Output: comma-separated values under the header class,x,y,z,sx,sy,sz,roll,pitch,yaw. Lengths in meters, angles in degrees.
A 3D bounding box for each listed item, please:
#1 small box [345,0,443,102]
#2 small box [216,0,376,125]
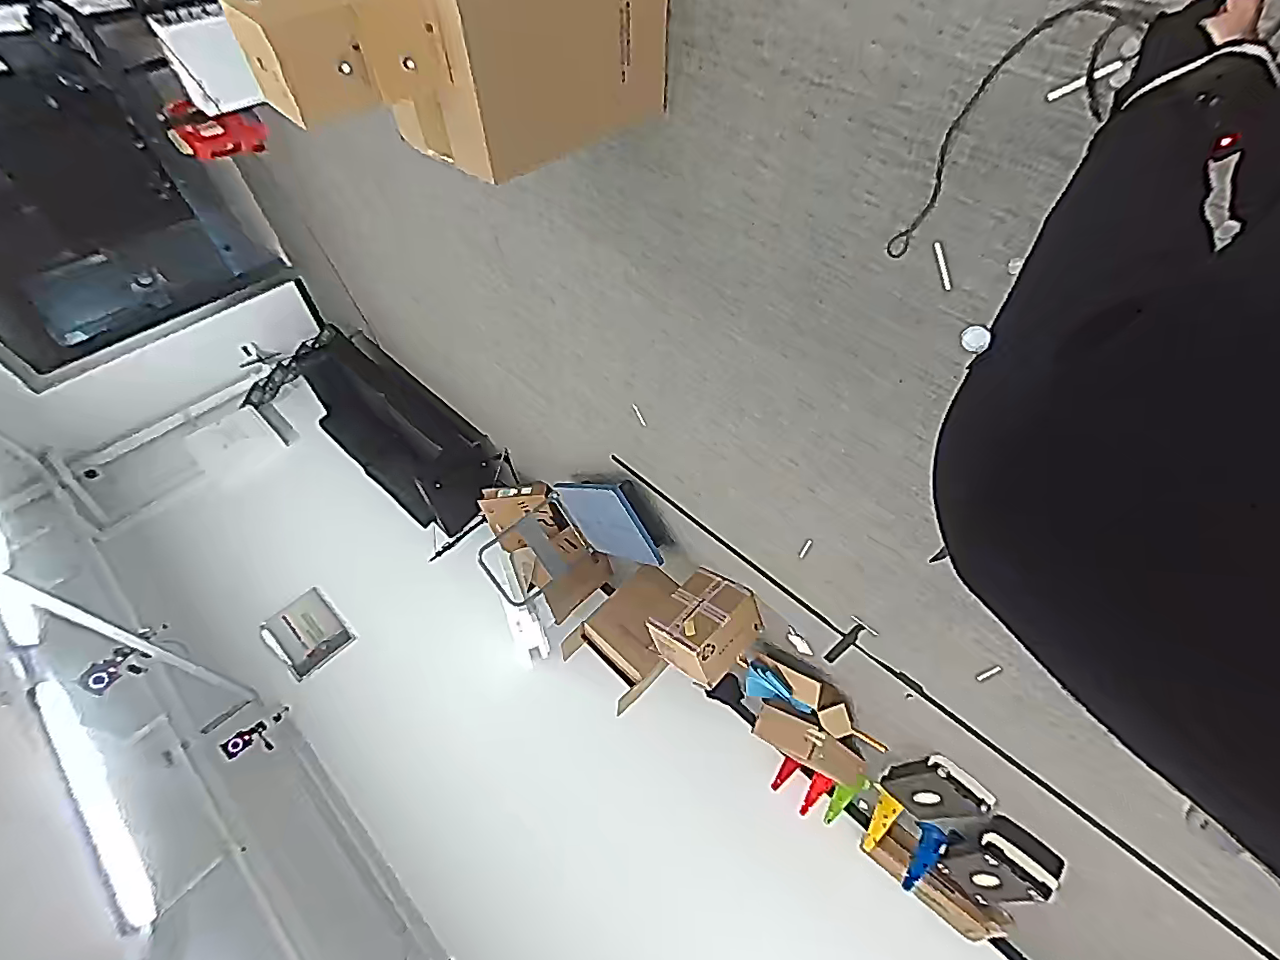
class,x,y,z,sx,sy,sz,roll,pitch,yaw
small box,-0.521,-0.904,1.091,0.179,0.176,0.168,38,153,23
small box,-0.639,-0.813,1.020,0.179,0.176,0.168,39,154,21
